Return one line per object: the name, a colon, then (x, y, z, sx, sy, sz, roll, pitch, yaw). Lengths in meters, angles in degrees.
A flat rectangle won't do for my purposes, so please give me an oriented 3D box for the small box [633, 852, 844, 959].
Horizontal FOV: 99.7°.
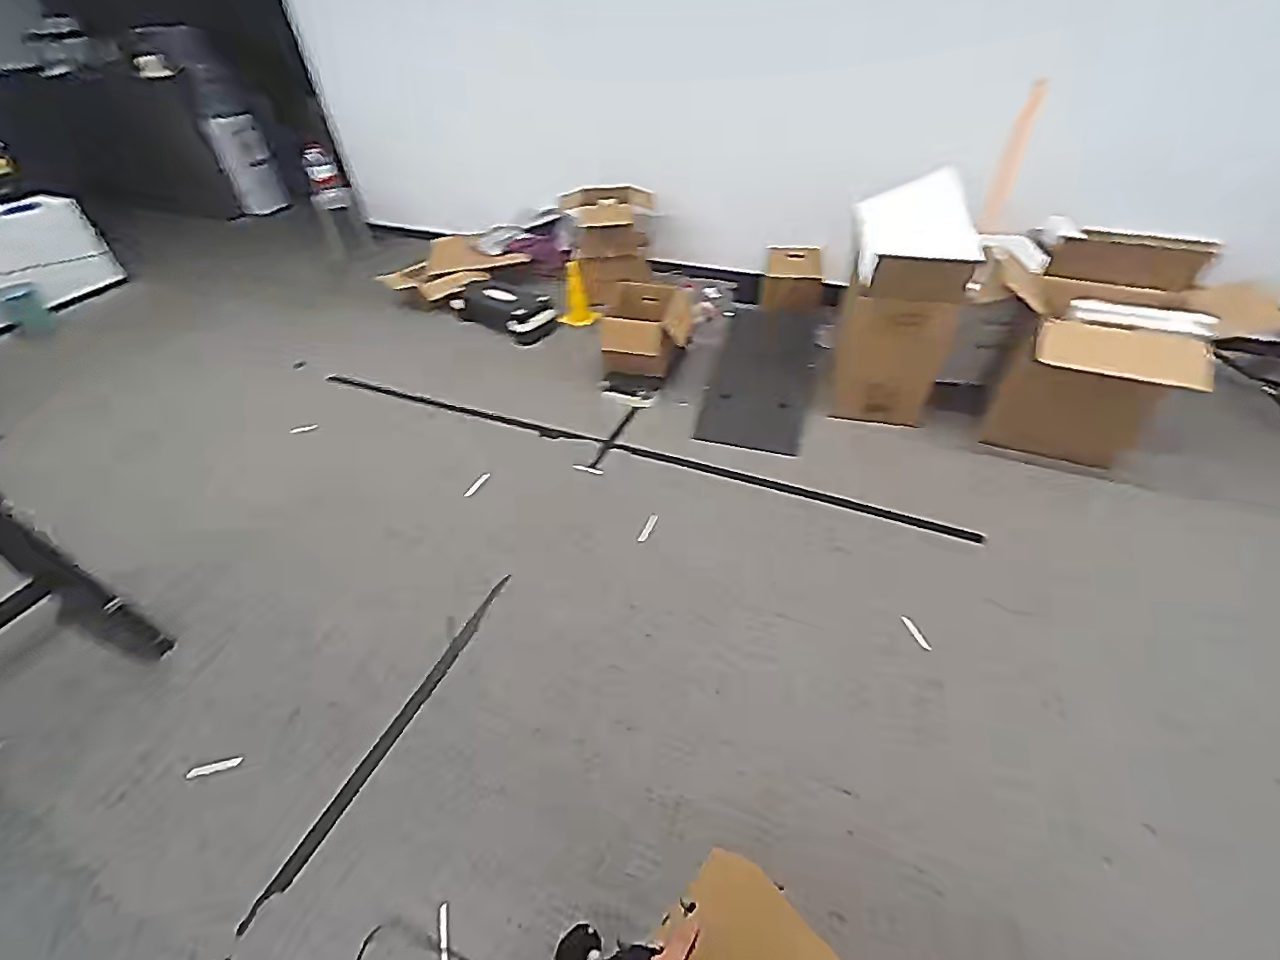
small box: (0.111, 0.546, 0.593, 0.168, 0.176, 0.179, -39, 73, -26)
